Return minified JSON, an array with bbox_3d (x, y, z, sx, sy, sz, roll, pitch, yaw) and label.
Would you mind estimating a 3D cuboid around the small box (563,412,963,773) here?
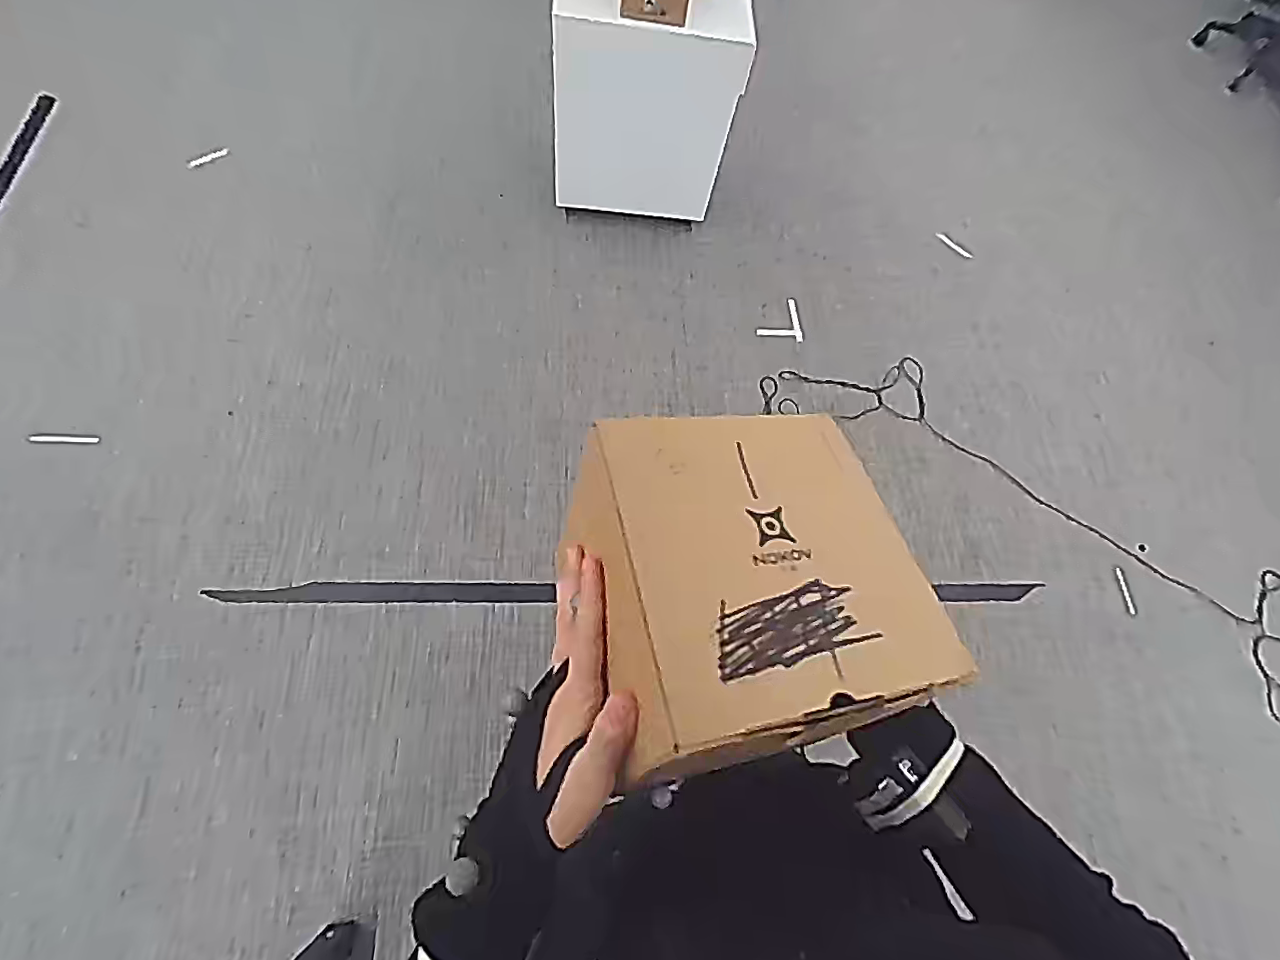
[{"bbox_3d":[0.050,0.077,0.354,0.168,0.176,0.179,-4,56,-19],"label":"small box"}]
